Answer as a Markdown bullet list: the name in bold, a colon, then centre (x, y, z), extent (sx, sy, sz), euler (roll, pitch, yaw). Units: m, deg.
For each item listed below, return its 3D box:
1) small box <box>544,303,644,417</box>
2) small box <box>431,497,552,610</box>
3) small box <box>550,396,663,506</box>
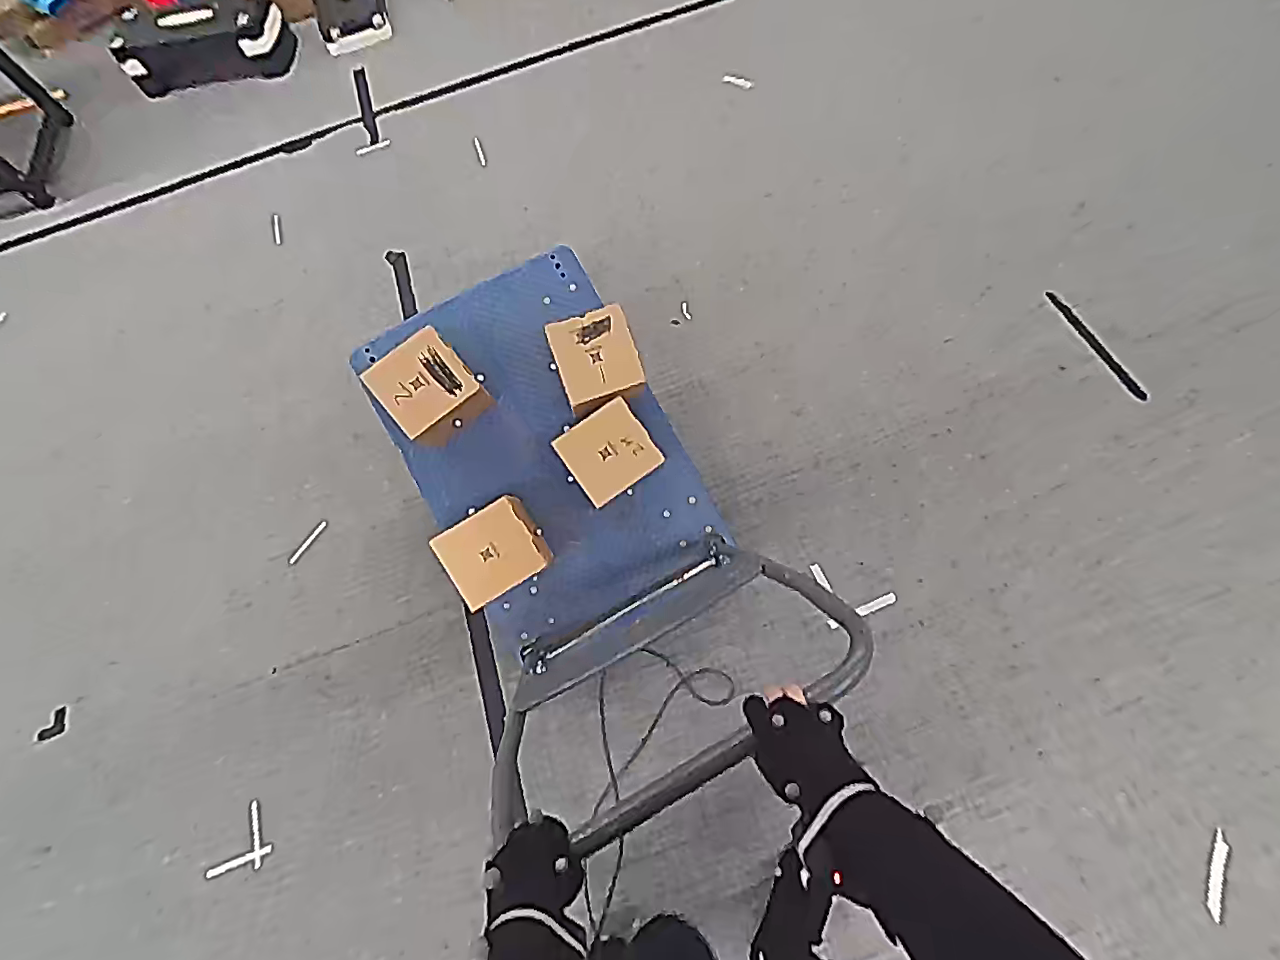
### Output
- **small box**: centre (-0.101, -0.255, 1.186), extent (0.168, 0.176, 0.179), euler (-20, 90, -4)
- **small box**: centre (-0.305, 0.152, 1.150), extent (0.179, 0.176, 0.168), euler (-33, 90, -6)
- **small box**: centre (-0.071, -0.055, 1.178), extent (0.179, 0.176, 0.168), euler (-36, 90, -5)
